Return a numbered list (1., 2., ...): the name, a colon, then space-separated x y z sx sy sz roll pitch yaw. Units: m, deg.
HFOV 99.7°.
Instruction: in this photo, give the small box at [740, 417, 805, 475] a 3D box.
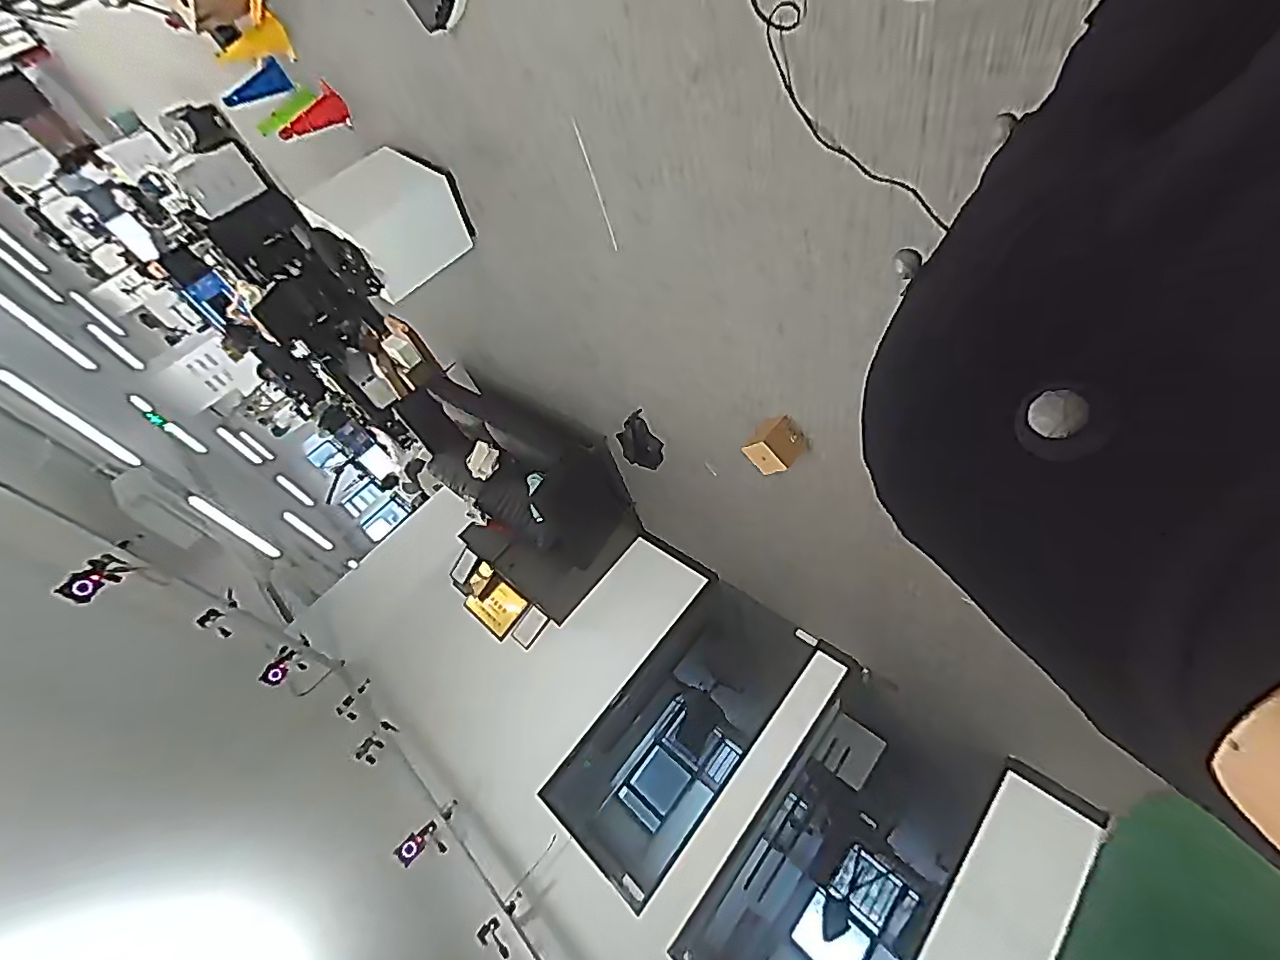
1. small box: 0.573 -0.147 2.327 0.168 0.176 0.179 46 160 -9
